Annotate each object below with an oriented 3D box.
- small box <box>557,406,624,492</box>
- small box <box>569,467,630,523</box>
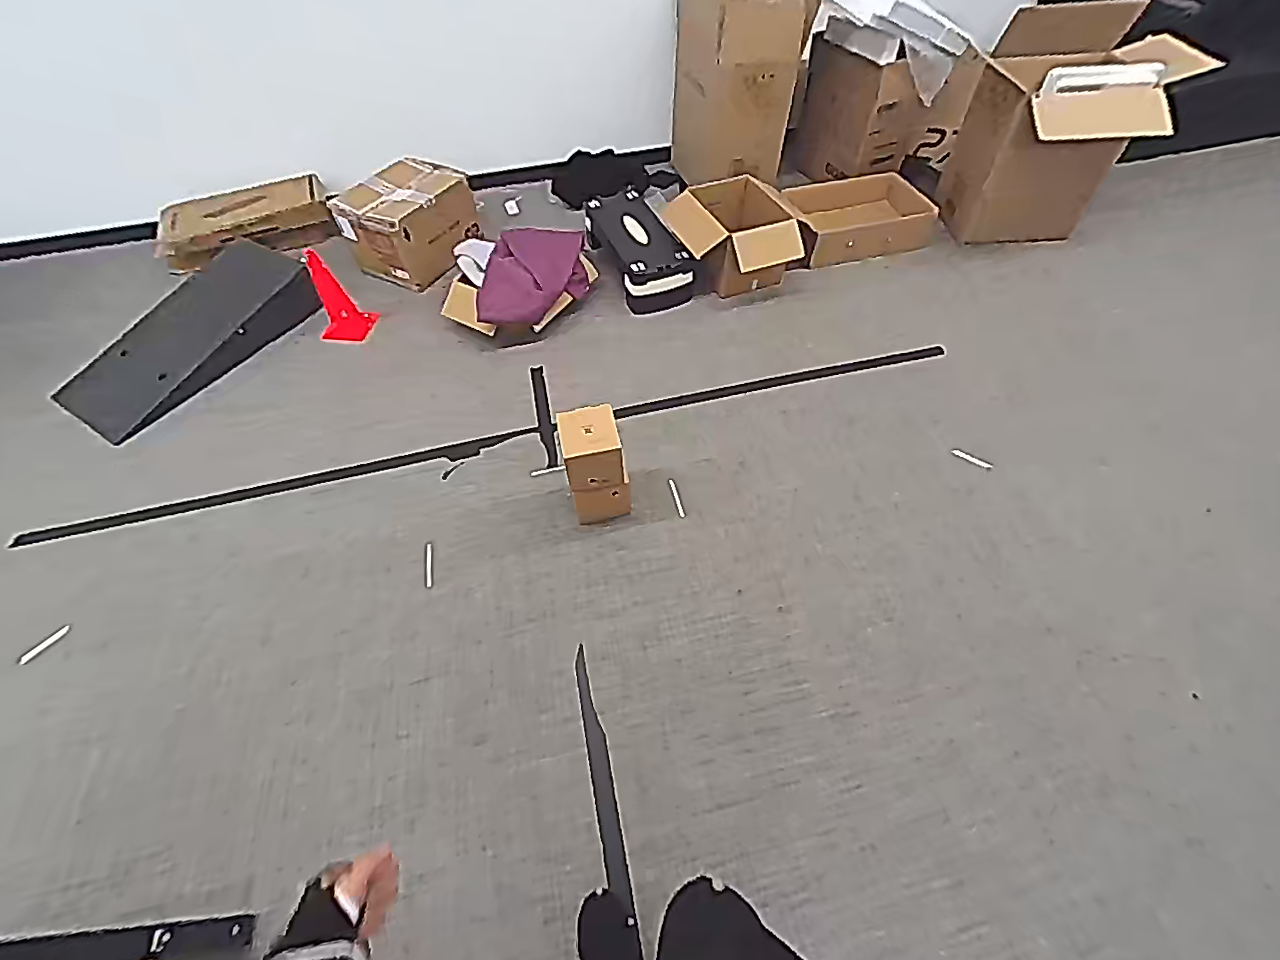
[{"bbox_3d":[-0.144,-0.089,1.597,0.168,0.176,0.179,-12,56,-6],"label":"small box"},{"bbox_3d":[-0.133,0.014,1.723,0.179,0.176,0.168,-13,55,-7],"label":"small box"}]
